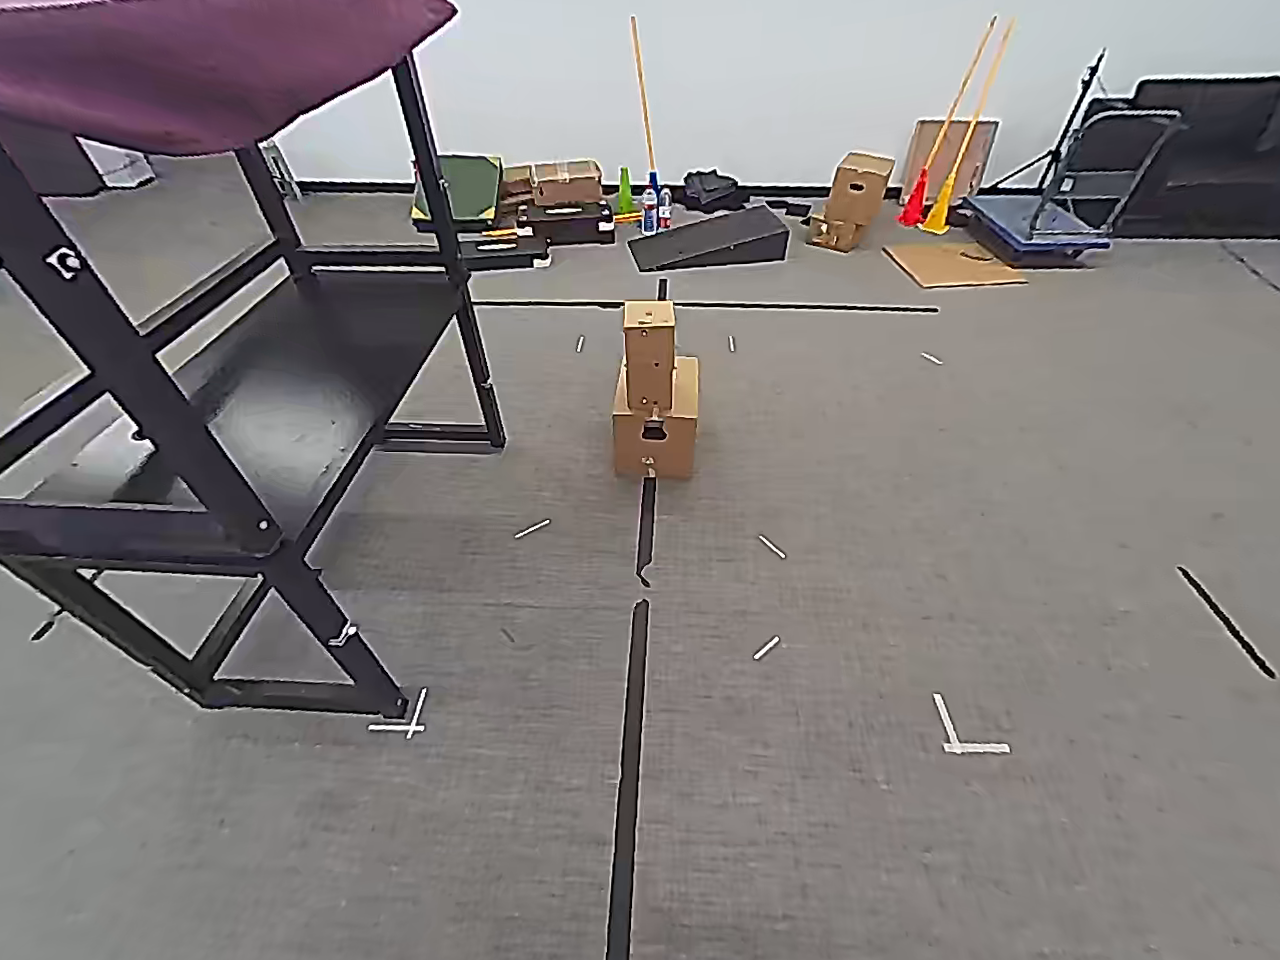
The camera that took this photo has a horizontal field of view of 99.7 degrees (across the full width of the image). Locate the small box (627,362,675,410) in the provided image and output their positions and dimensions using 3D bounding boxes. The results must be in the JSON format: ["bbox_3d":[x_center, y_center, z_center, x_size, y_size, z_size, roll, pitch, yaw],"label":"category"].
[{"bbox_3d":[0.044,-0.376,1.967,0.168,0.176,0.179,1,45,4],"label":"small box"}]

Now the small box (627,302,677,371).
[{"bbox_3d":[0.041,-0.491,1.851,0.168,0.176,0.179,-1,44,2],"label":"small box"}]

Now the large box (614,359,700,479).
[{"bbox_3d":[0.073,-0.249,2.186,0.320,0.320,0.408,4,44,3],"label":"large box"}]
